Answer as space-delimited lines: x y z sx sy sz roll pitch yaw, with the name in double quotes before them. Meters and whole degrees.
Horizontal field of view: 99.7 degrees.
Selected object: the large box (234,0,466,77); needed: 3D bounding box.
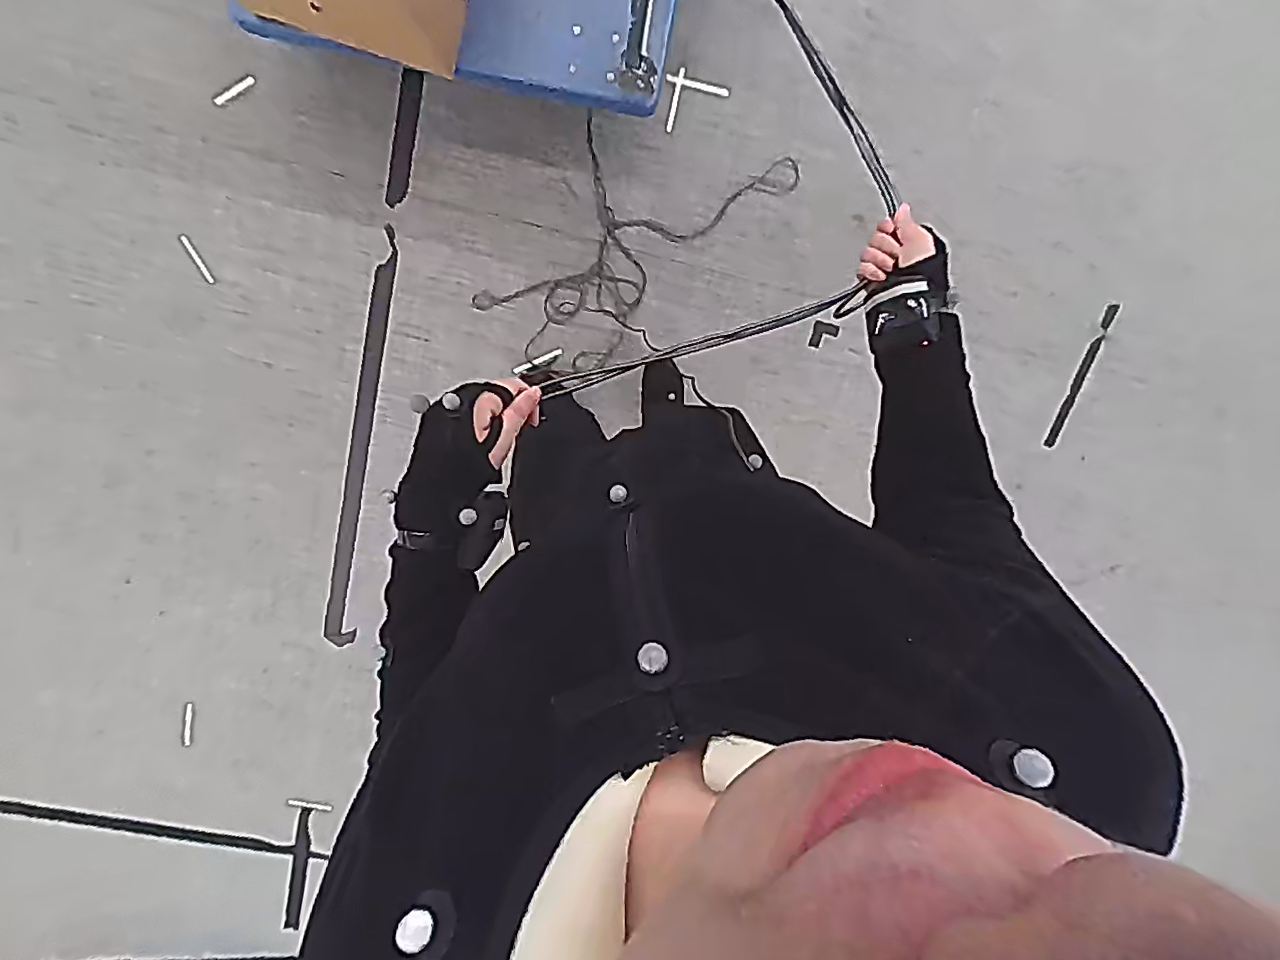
"large box" -0.525 -0.961 0.901 0.408 0.320 0.320 14 102 -5
